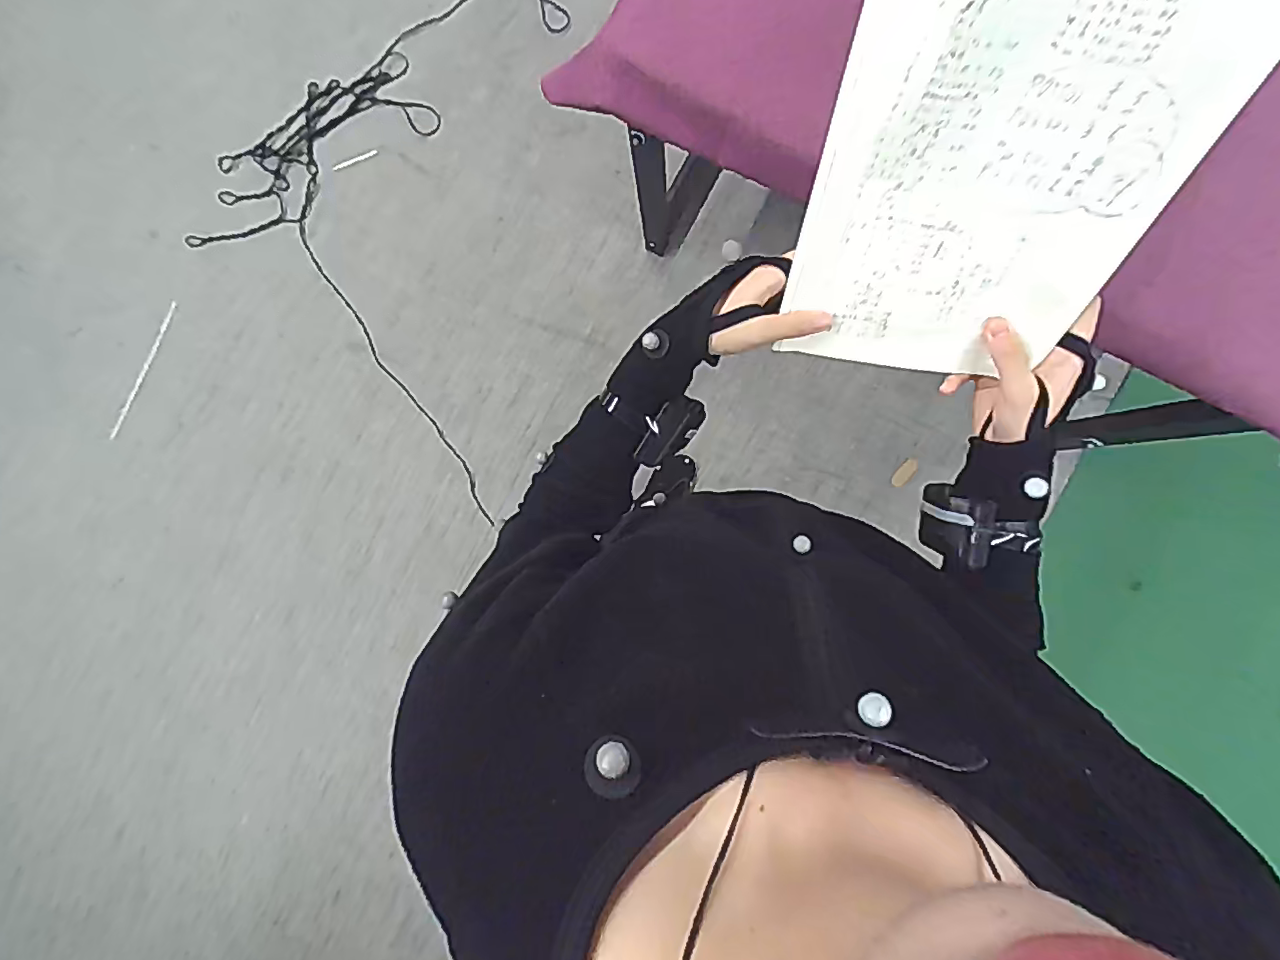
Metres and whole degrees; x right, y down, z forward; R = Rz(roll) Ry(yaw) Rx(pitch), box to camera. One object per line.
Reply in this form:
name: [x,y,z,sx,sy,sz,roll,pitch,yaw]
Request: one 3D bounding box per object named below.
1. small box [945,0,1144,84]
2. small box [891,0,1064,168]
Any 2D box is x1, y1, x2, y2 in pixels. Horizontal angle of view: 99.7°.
small box: [0.438,-0.547,0.529,0.168,0.176,0.179,30,90,4]
small box: [0.453,-0.549,0.694,0.168,0.176,0.179,30,92,4]
